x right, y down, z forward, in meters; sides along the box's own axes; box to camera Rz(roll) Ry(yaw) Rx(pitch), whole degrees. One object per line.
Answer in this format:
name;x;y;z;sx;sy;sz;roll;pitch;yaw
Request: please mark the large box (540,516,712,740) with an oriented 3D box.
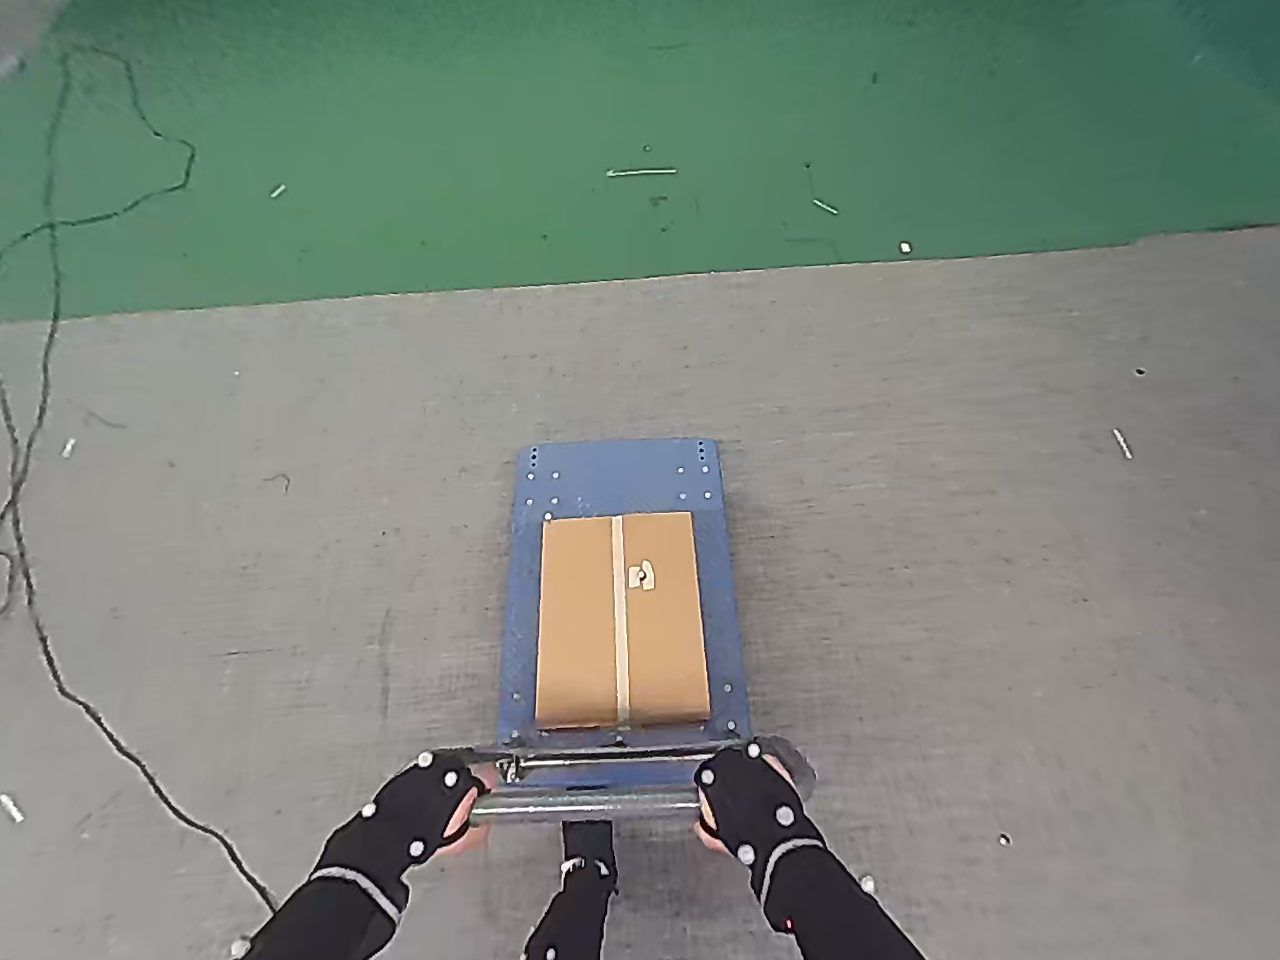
large box;-0.029;0.330;1.177;0.320;0.320;0.408;-3;62;0
